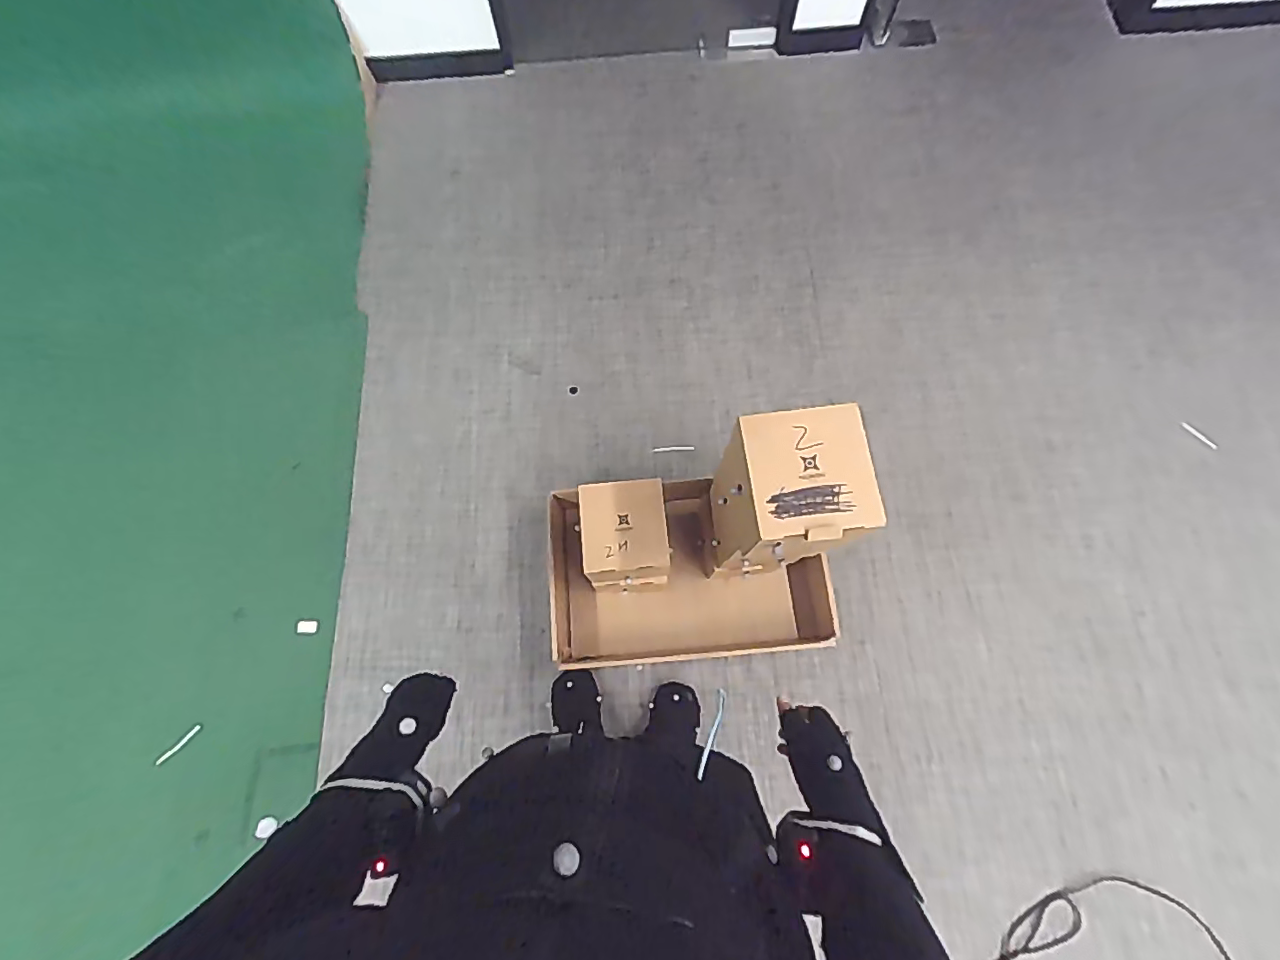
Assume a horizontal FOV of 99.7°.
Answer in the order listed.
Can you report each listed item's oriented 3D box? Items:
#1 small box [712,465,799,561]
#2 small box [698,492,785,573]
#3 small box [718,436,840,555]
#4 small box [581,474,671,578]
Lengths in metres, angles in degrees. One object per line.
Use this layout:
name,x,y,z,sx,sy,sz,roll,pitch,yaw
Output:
small box,0.240,0.069,1.096,0.168,0.176,0.179,-5,74,1
small box,0.232,0.121,1.270,0.168,0.176,0.179,-9,74,0
small box,0.234,0.036,0.952,0.168,0.176,0.179,-4,74,0
small box,-0.030,0.099,1.109,0.168,0.176,0.179,-5,74,-1
